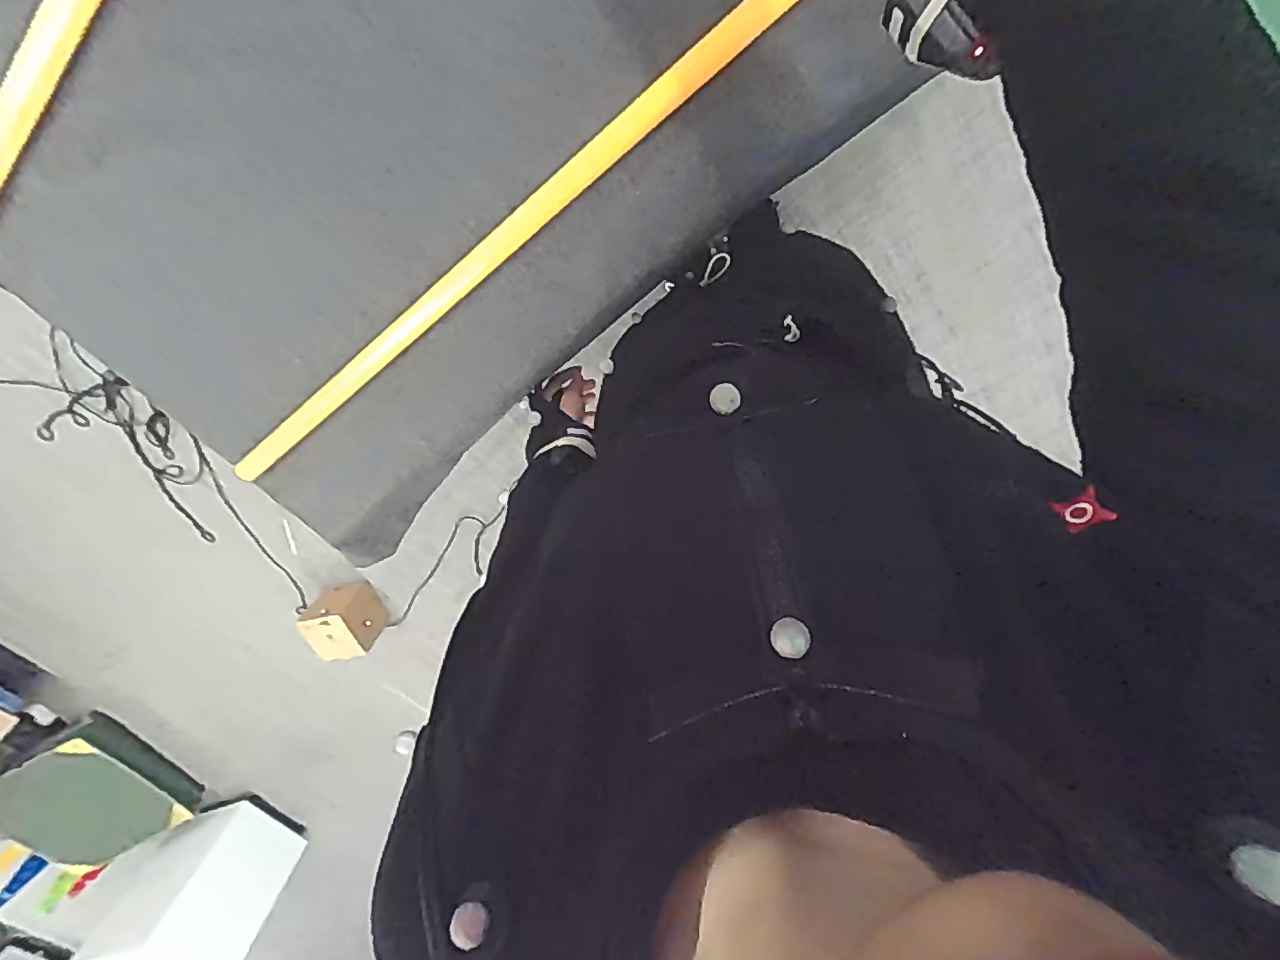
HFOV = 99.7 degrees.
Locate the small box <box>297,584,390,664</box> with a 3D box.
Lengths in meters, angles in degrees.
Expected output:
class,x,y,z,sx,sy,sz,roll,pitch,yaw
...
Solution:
class,x,y,z,sx,sy,sz,roll,pitch,yaw
small box,-0.949,0.465,1.751,0.168,0.176,0.179,-12,118,12
